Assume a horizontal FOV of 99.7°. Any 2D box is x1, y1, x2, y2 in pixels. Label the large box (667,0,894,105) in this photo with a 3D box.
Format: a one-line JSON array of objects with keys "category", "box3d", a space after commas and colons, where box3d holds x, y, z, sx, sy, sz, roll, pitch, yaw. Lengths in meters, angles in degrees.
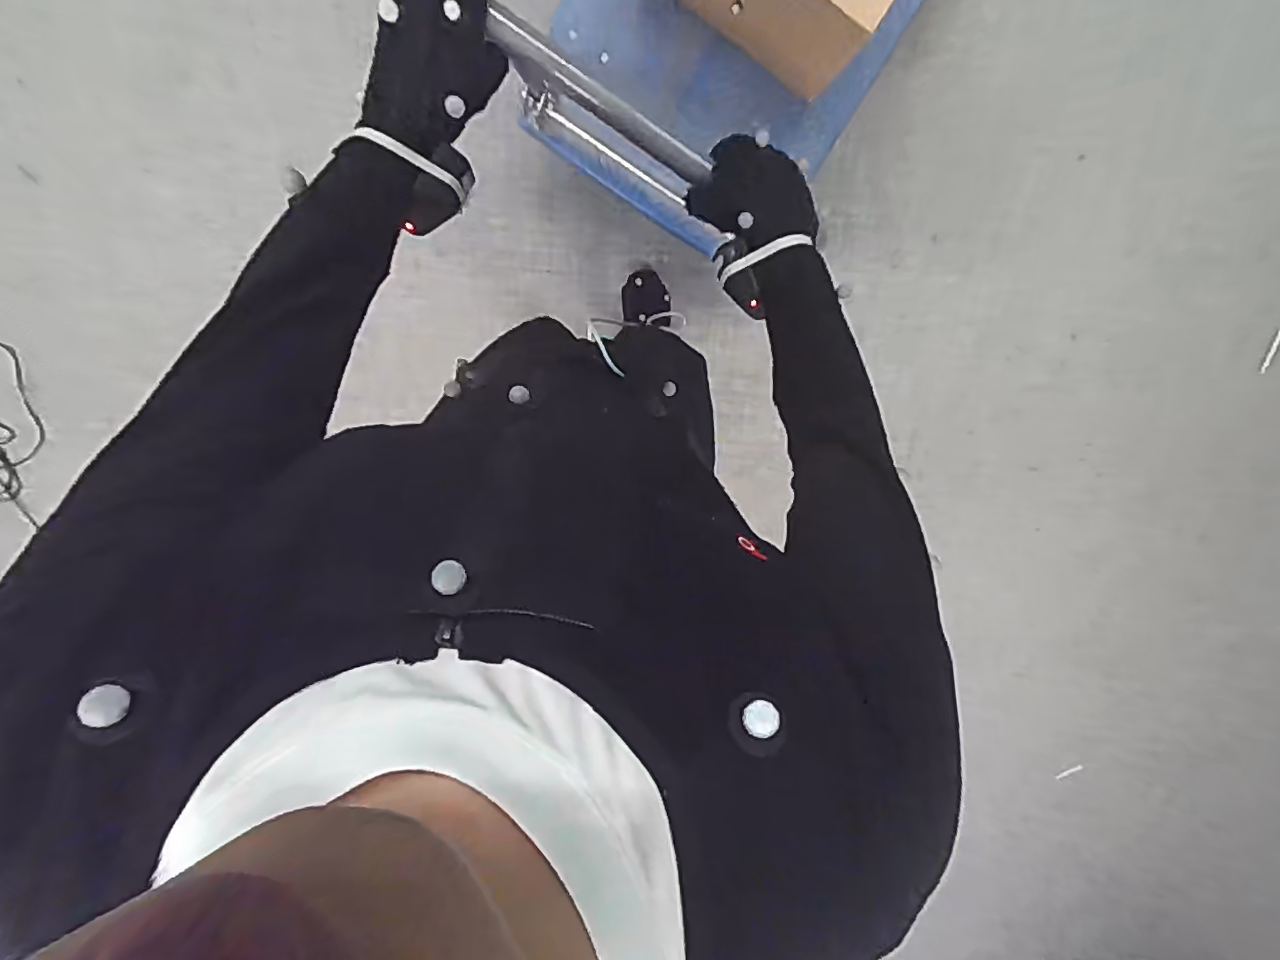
[{"category": "large box", "box3d": [0.247, -0.906, 0.858, 0.408, 0.320, 0.320, 32, 105, -8]}]
